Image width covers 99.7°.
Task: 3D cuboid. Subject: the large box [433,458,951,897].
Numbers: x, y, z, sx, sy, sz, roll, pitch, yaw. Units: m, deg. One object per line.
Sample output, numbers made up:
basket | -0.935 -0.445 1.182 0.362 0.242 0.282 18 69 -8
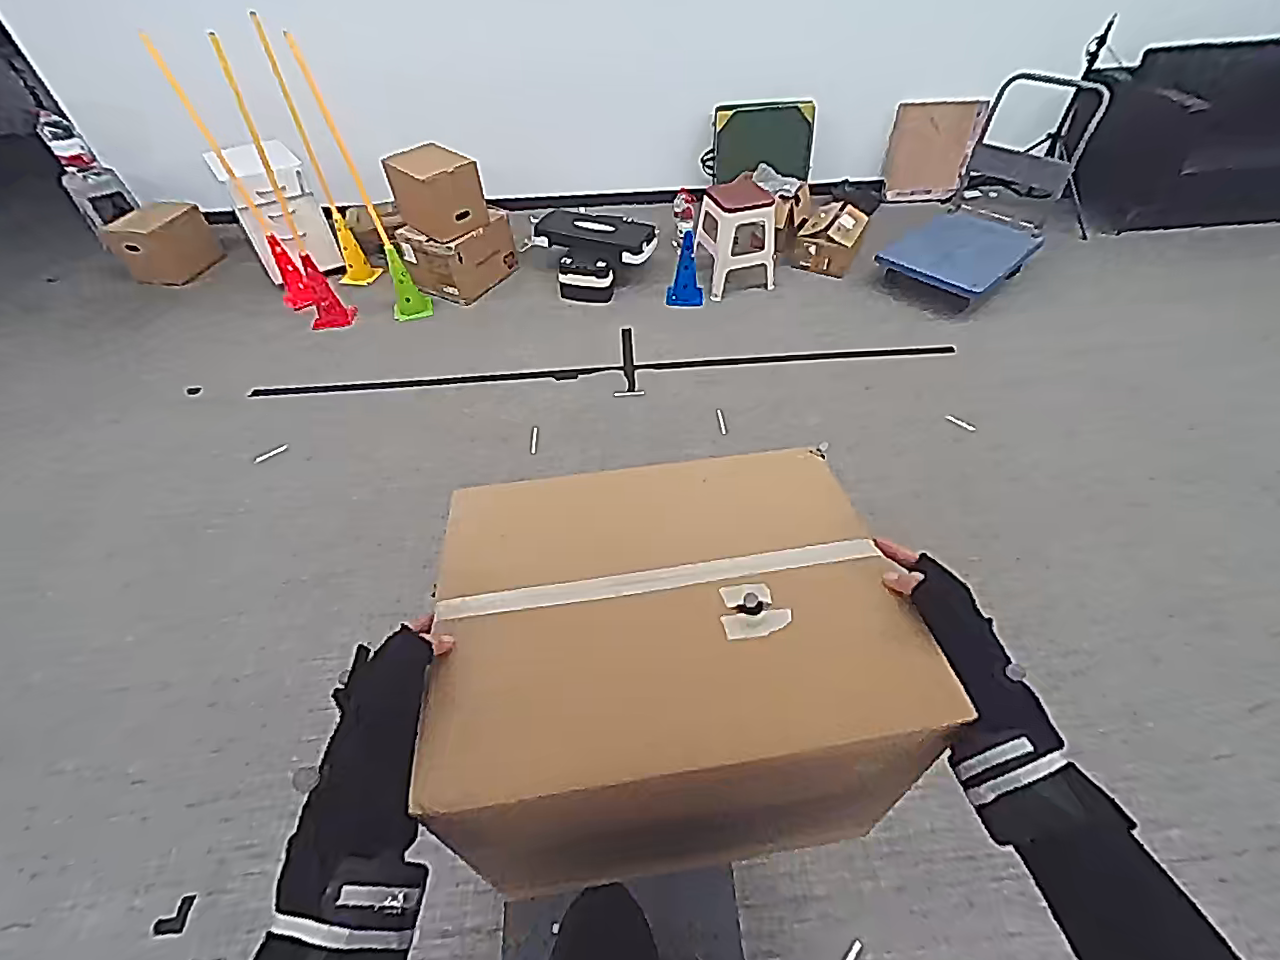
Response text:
large box | 0.027 0.211 0.604 0.408 0.320 0.320 -7 44 -5
